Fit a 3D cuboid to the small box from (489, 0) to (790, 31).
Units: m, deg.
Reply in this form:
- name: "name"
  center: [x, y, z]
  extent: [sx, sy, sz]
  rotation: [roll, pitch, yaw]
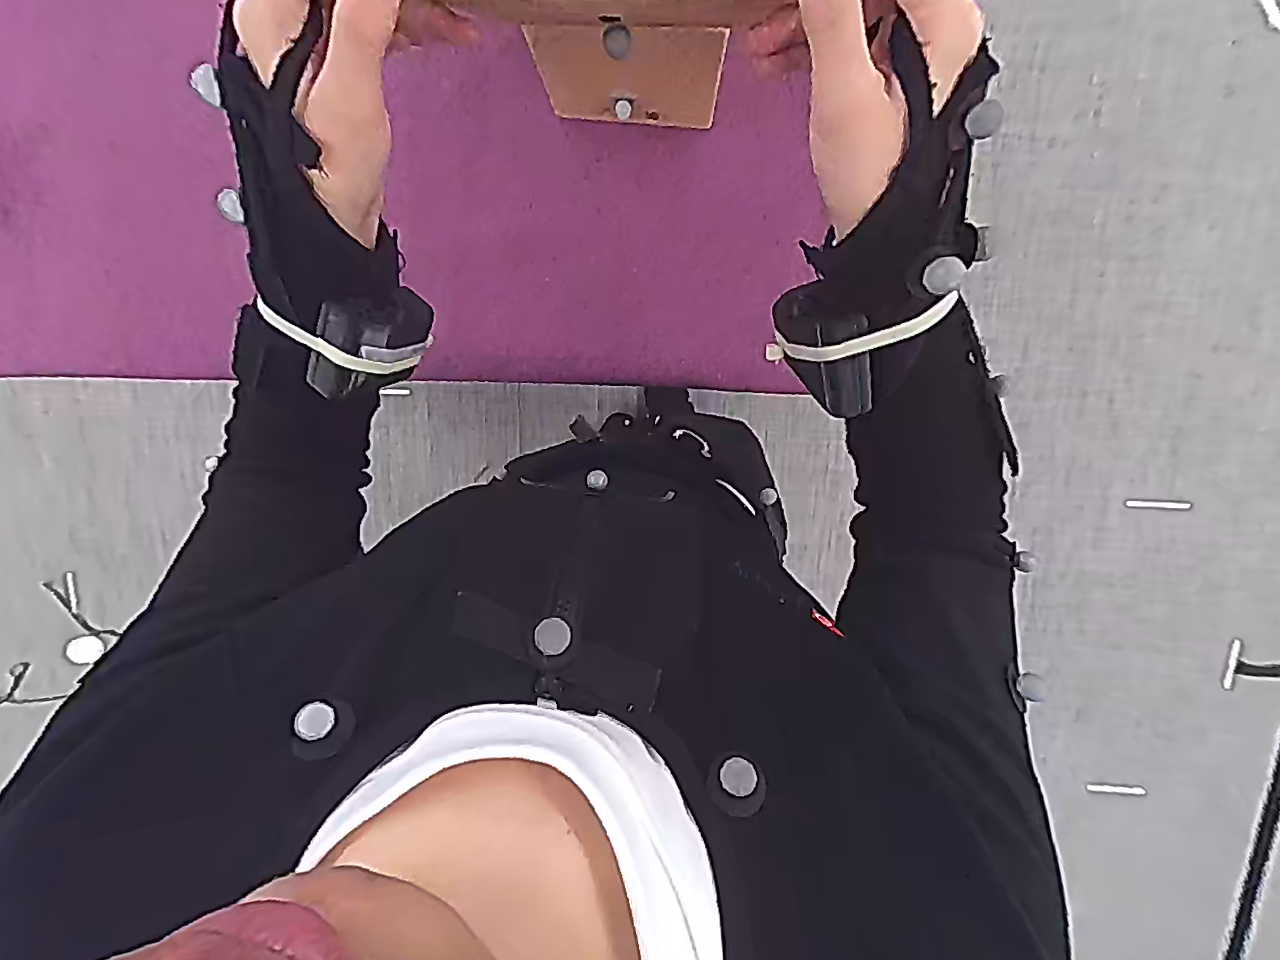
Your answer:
- name: "small box"
  center: [-0.008, -0.299, 0.208]
  extent: [0.168, 0.176, 0.179]
  rotation: [3, 125, 2]

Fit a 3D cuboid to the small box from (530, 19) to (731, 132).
- name: "small box"
  center: [0.000, -0.446, 0.477]
  extent: [0.168, 0.176, 0.179]
  rotation: [6, 101, 1]
